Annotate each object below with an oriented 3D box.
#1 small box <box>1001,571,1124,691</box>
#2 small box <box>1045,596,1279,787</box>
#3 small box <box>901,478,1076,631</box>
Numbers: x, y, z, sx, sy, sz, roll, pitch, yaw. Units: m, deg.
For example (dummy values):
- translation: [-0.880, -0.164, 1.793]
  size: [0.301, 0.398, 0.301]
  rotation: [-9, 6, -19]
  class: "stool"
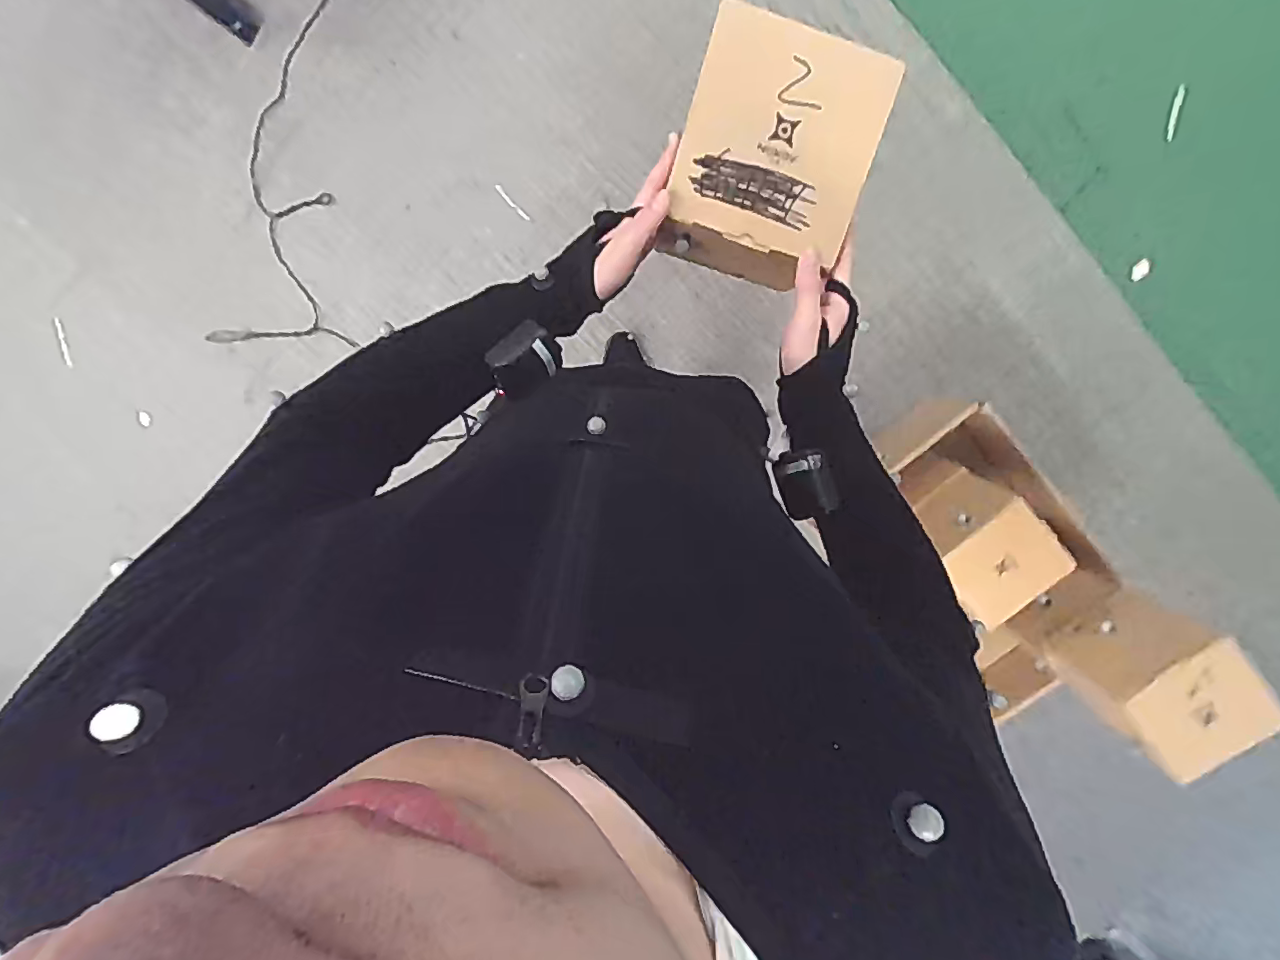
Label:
- translation: [0.807, 0.285, 0.991]
  size: [0.179, 0.176, 0.168]
  rotation: [42, 102, -6]
  class: "small box"
- translation: [0.787, 0.312, 0.828]
  size: [0.168, 0.176, 0.179]
  rotation: [-39, 98, 10]
  class: "small box"
- translation: [0.597, 0.124, 0.960]
  size: [0.179, 0.176, 0.168]
  rotation: [-43, 100, 10]
  class: "small box"
